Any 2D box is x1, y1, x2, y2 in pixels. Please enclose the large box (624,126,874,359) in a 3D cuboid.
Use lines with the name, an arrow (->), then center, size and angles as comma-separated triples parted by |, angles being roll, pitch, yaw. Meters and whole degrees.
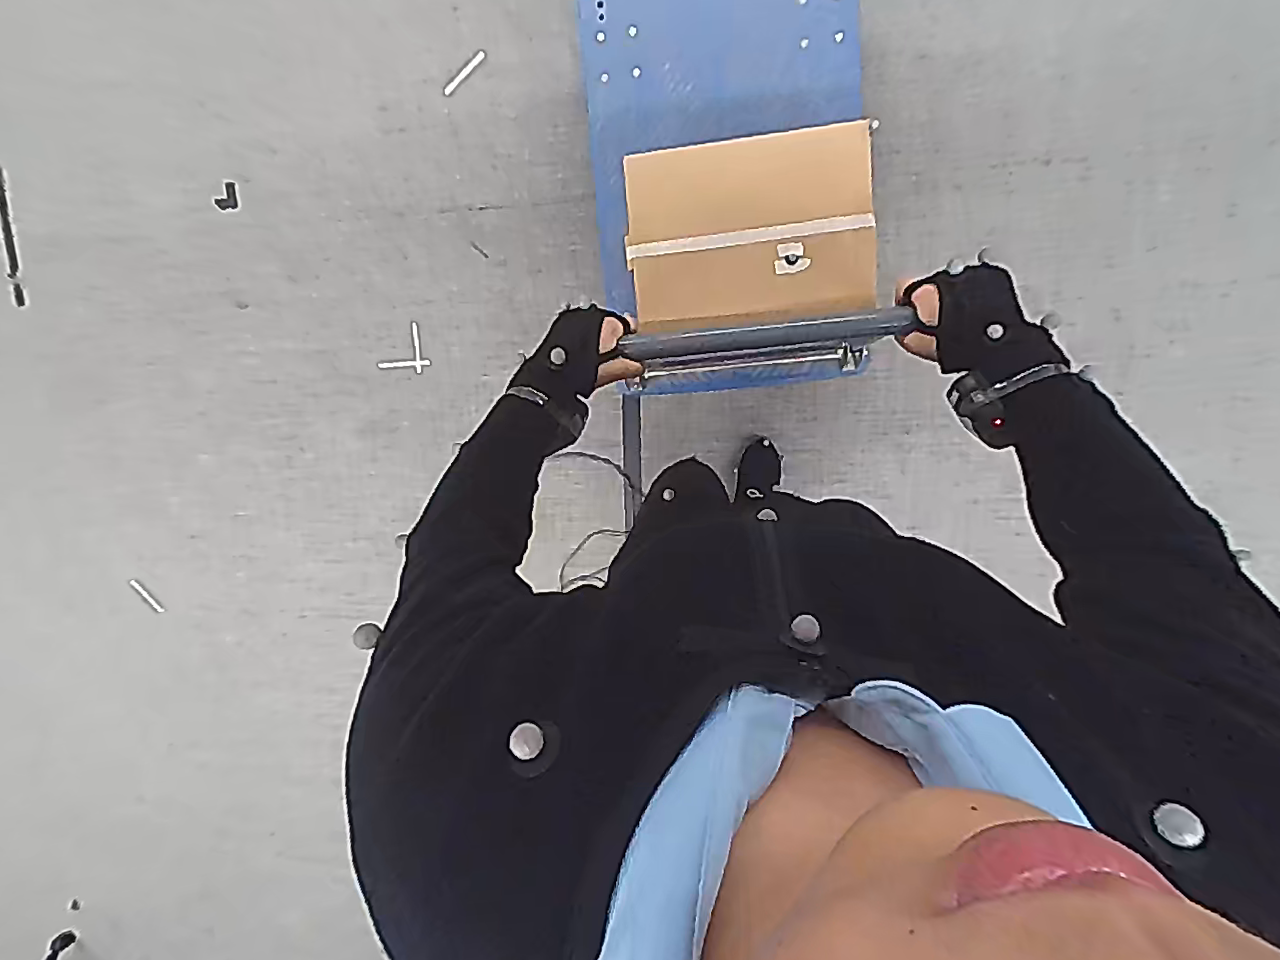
large box -> 0.197, -0.425, 1.061 | 0.408, 0.320, 0.320 | -4, 99, 6
